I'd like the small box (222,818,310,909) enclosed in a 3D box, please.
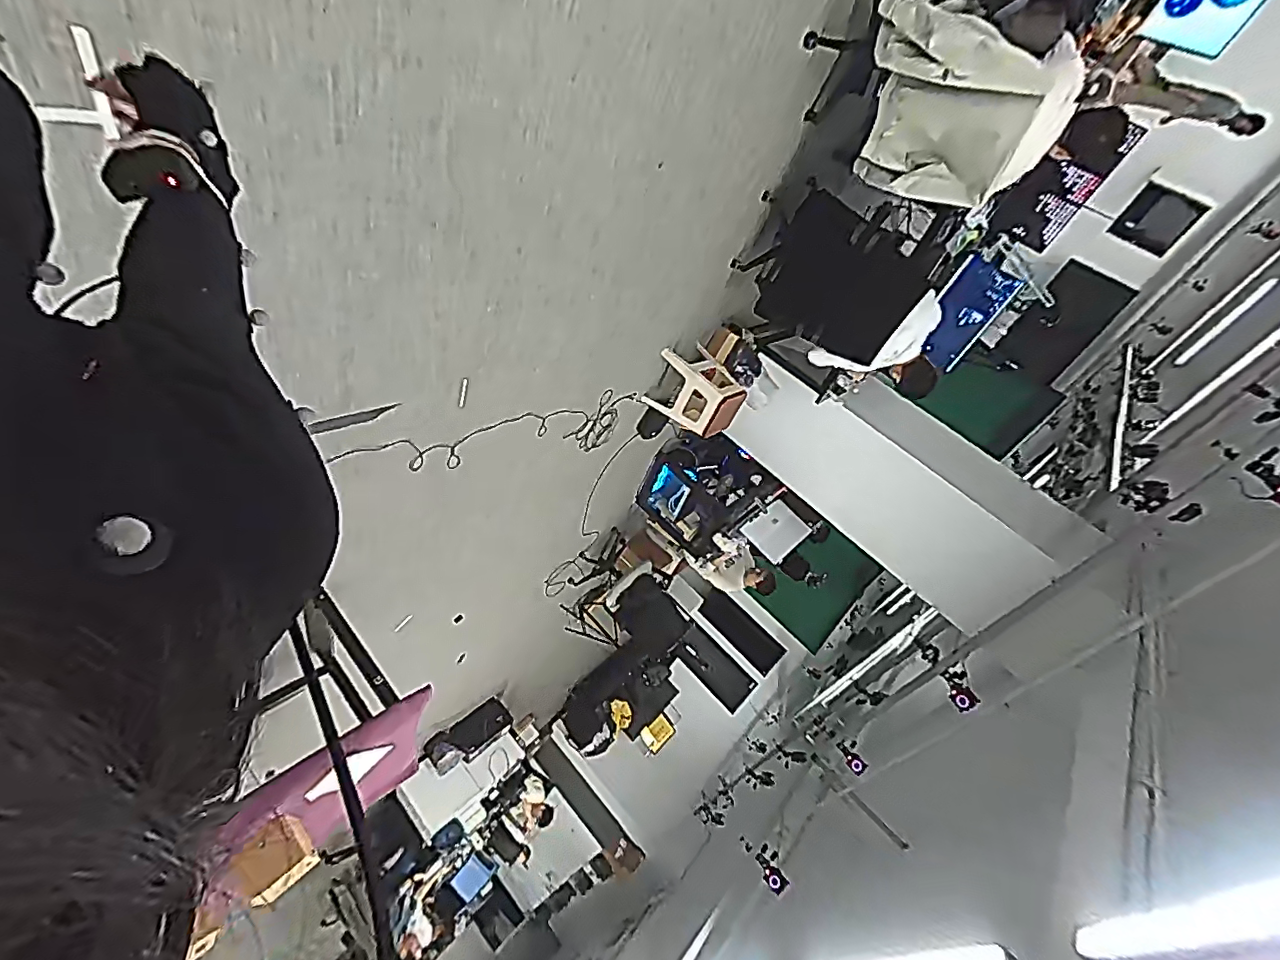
[{"bbox_3d":[-1.231,1.258,1.775,0.179,0.176,0.168,-33,156,-33],"label":"small box"}]

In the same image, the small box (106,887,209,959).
[{"bbox_3d":[-1.409,1.349,1.580,0.179,0.176,0.168,-13,142,-57],"label":"small box"}]
